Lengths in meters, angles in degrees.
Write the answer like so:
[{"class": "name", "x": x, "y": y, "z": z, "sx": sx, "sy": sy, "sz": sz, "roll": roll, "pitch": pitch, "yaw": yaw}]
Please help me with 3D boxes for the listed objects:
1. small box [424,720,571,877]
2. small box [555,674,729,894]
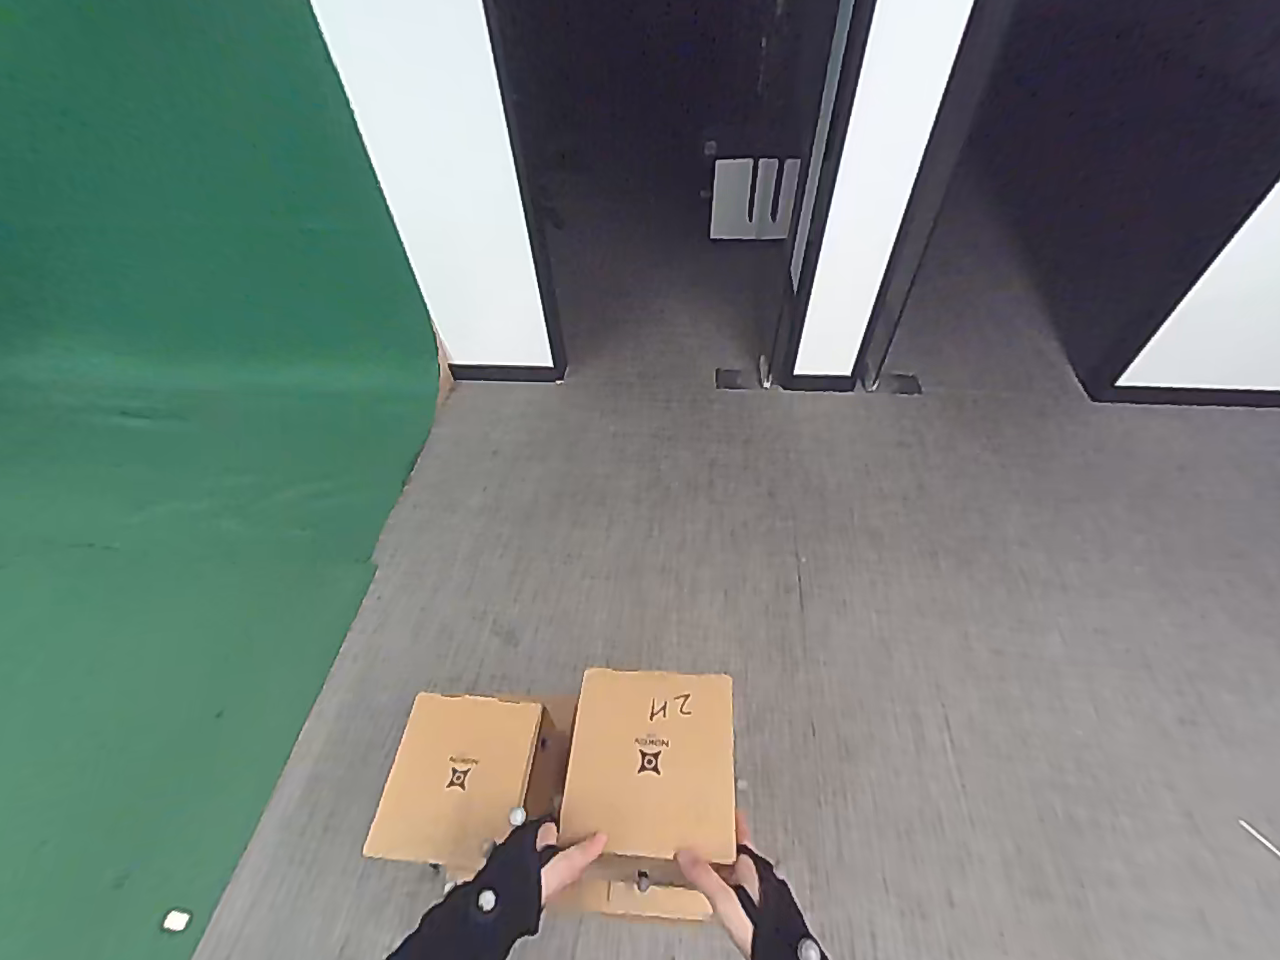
[{"class": "small box", "x": -0.202, "y": 0.492, "z": 0.833, "sx": 0.168, "sy": 0.176, "sz": 0.179, "roll": 4, "pitch": 52, "yaw": 5}, {"class": "small box", "x": 0.015, "y": 0.344, "z": 0.610, "sx": 0.168, "sy": 0.176, "sz": 0.179, "roll": 2, "pitch": 46, "yaw": 7}]
